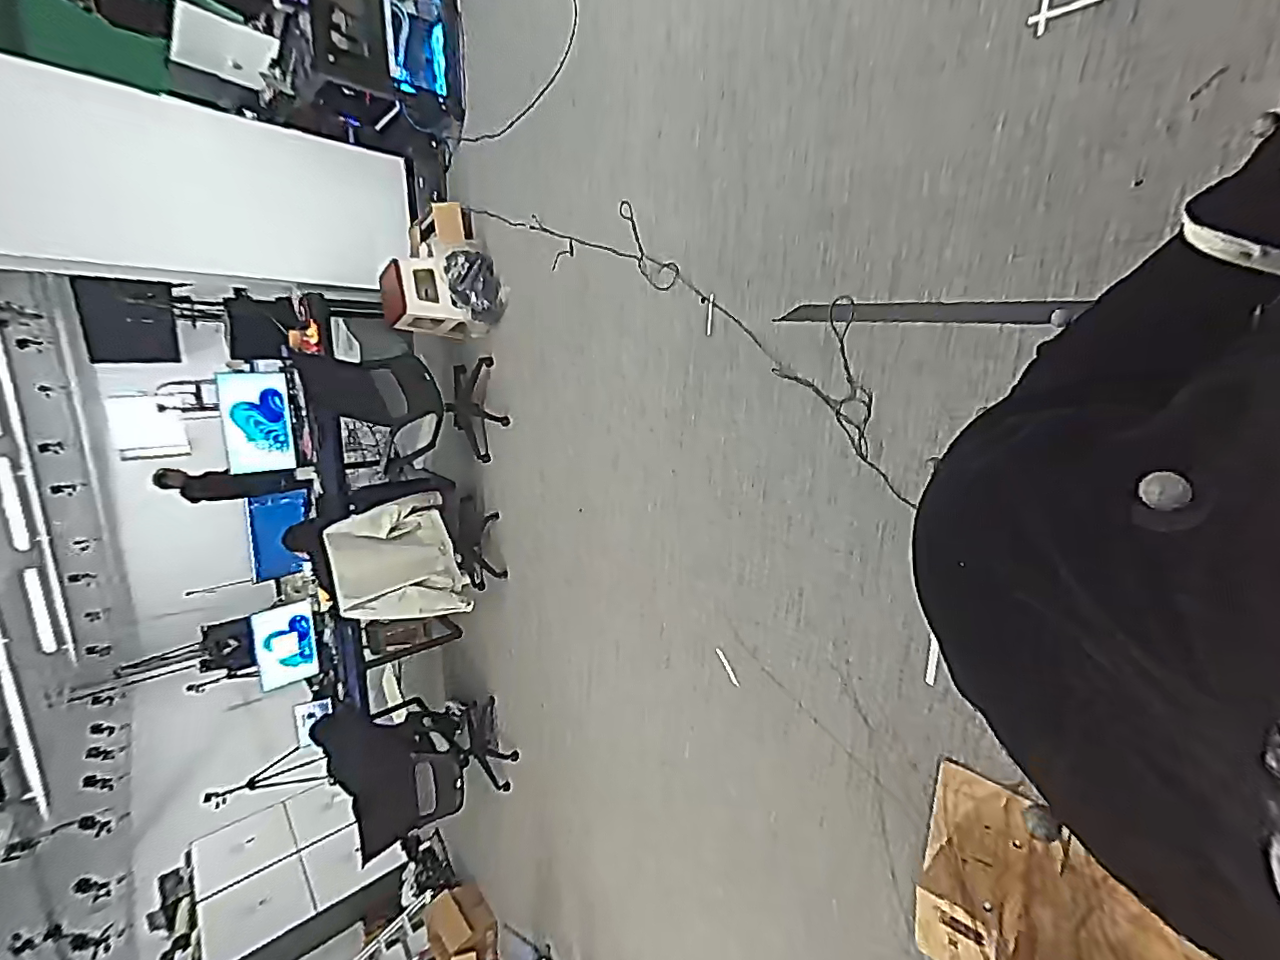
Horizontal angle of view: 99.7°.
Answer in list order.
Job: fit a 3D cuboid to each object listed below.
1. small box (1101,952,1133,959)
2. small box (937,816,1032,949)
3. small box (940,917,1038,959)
[{"bbox_3d":[1.093,1.195,1.179,0.179,0.176,0.168,19,111,44],"label":"small box"},{"bbox_3d":[0.880,1.012,1.379,0.168,0.176,0.179,9,105,47],"label":"small box"},{"bbox_3d":[0.905,1.270,1.408,0.179,0.176,0.168,9,106,47],"label":"small box"}]
